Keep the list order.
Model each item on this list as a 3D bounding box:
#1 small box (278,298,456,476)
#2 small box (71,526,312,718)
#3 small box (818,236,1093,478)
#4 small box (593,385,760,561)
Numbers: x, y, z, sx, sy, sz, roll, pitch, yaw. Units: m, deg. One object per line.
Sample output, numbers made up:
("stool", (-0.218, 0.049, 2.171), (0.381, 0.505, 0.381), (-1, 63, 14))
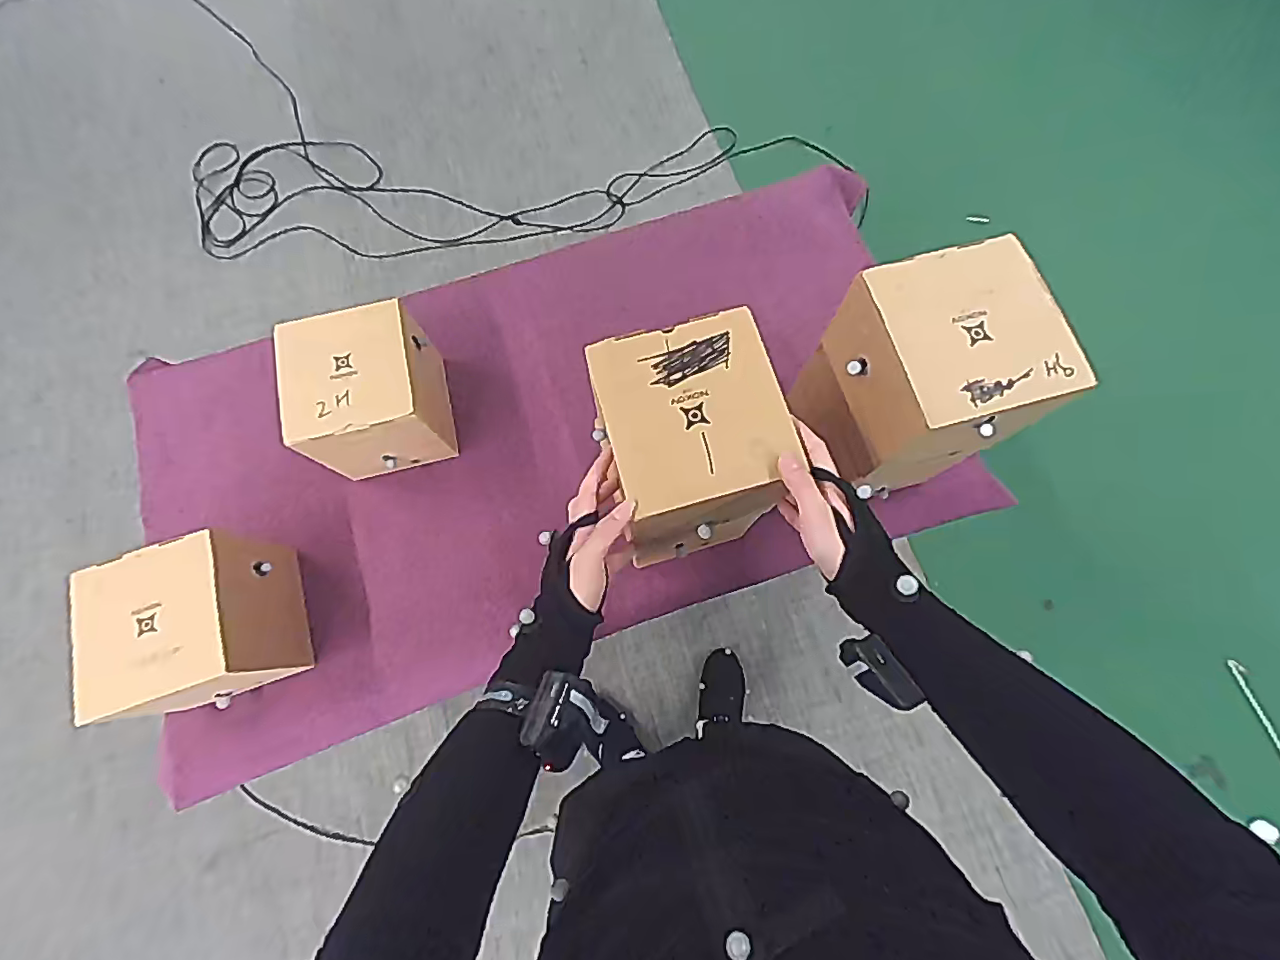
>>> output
("small box", (-0.378, -0.123, 0.770), (0.168, 0.176, 0.179), (-13, 75, -3))
("small box", (-0.555, 0.179, 0.688), (0.168, 0.176, 0.179), (-18, 74, -4))
("small box", (0.314, -0.122, 0.586), (0.168, 0.176, 0.179), (-14, 74, -2))
("small box", (0.045, 0.003, 0.730), (0.168, 0.176, 0.179), (-17, 73, -3))
